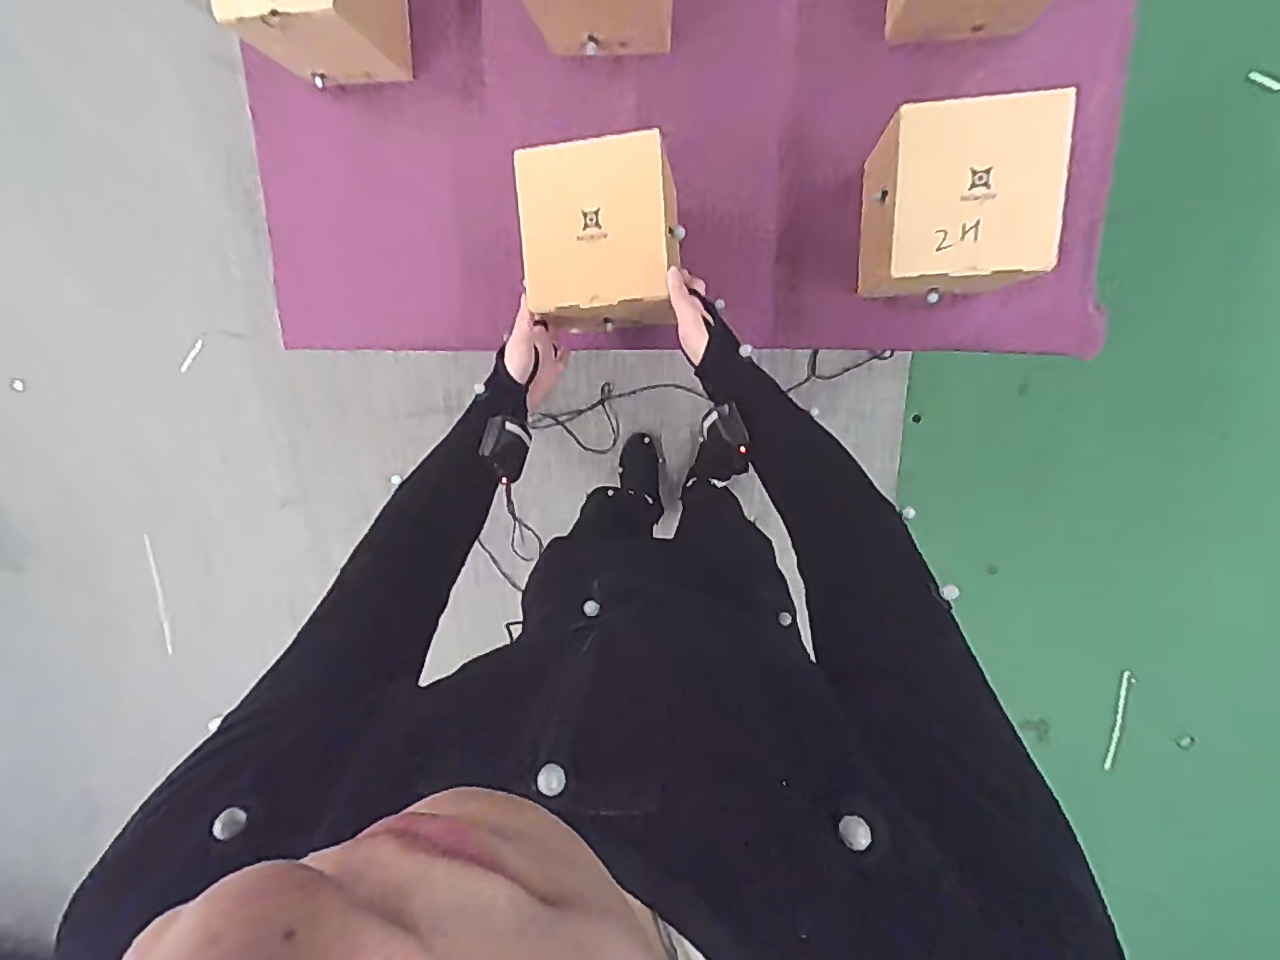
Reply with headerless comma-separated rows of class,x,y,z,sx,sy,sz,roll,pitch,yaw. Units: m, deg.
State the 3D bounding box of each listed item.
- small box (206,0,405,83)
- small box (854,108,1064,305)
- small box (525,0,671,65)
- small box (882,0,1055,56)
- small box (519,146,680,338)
small box,-0.426,-0.645,0.700,0.168,0.176,0.179,3,103,7
small box,0.369,-0.316,0.661,0.168,0.176,0.179,1,103,9
small box,-0.051,-0.644,0.653,0.168,0.176,0.179,5,104,8
small box,0.381,-0.614,0.596,0.168,0.176,0.179,3,103,8
small box,-0.039,-0.282,0.679,0.168,0.176,0.179,-3,100,8
